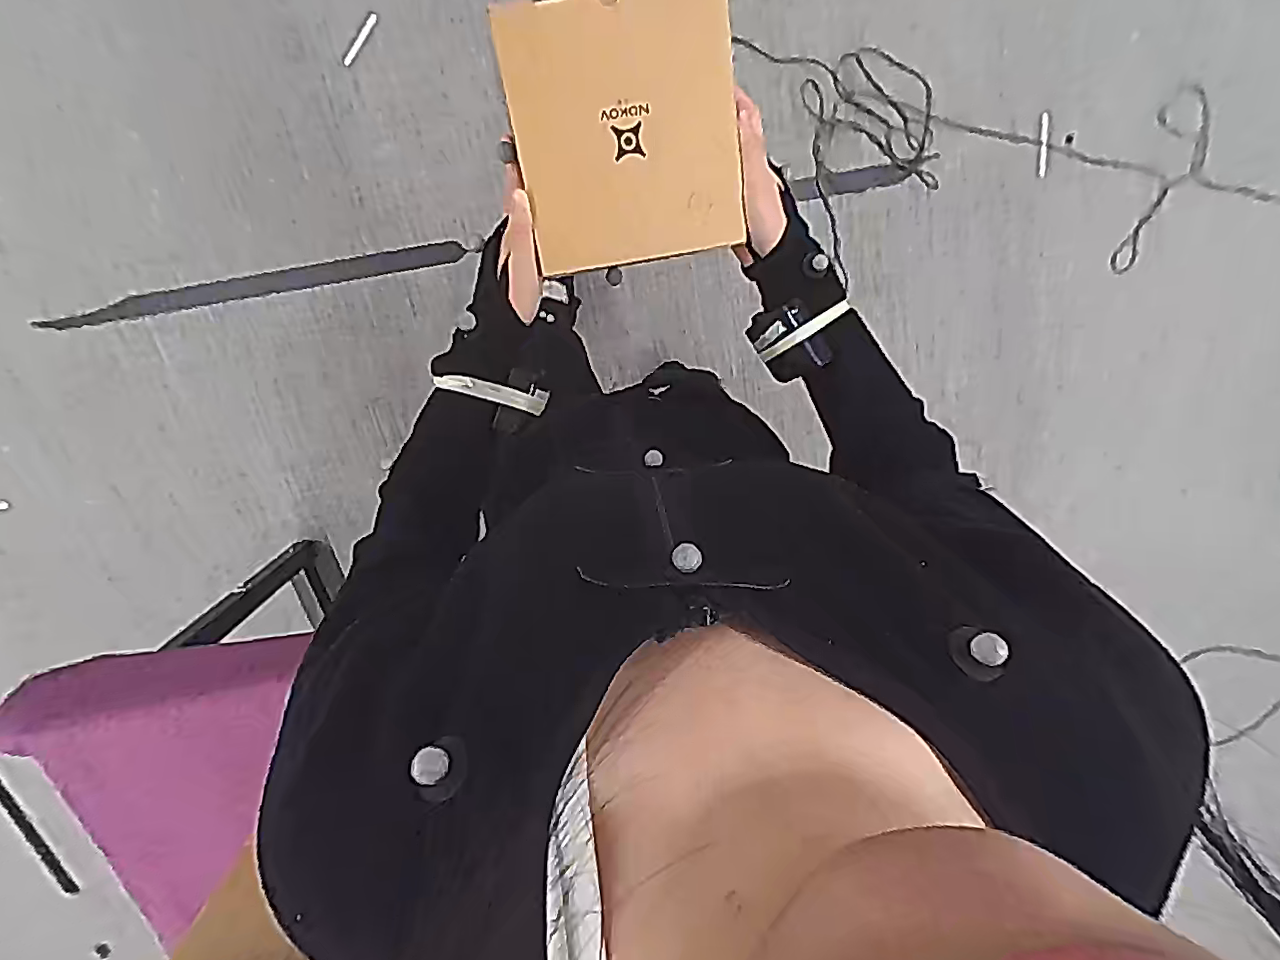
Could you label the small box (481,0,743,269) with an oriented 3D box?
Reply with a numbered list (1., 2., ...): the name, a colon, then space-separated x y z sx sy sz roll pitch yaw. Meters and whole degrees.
1. small box: -0.020 -0.285 0.464 0.168 0.176 0.179 -12 110 -2
